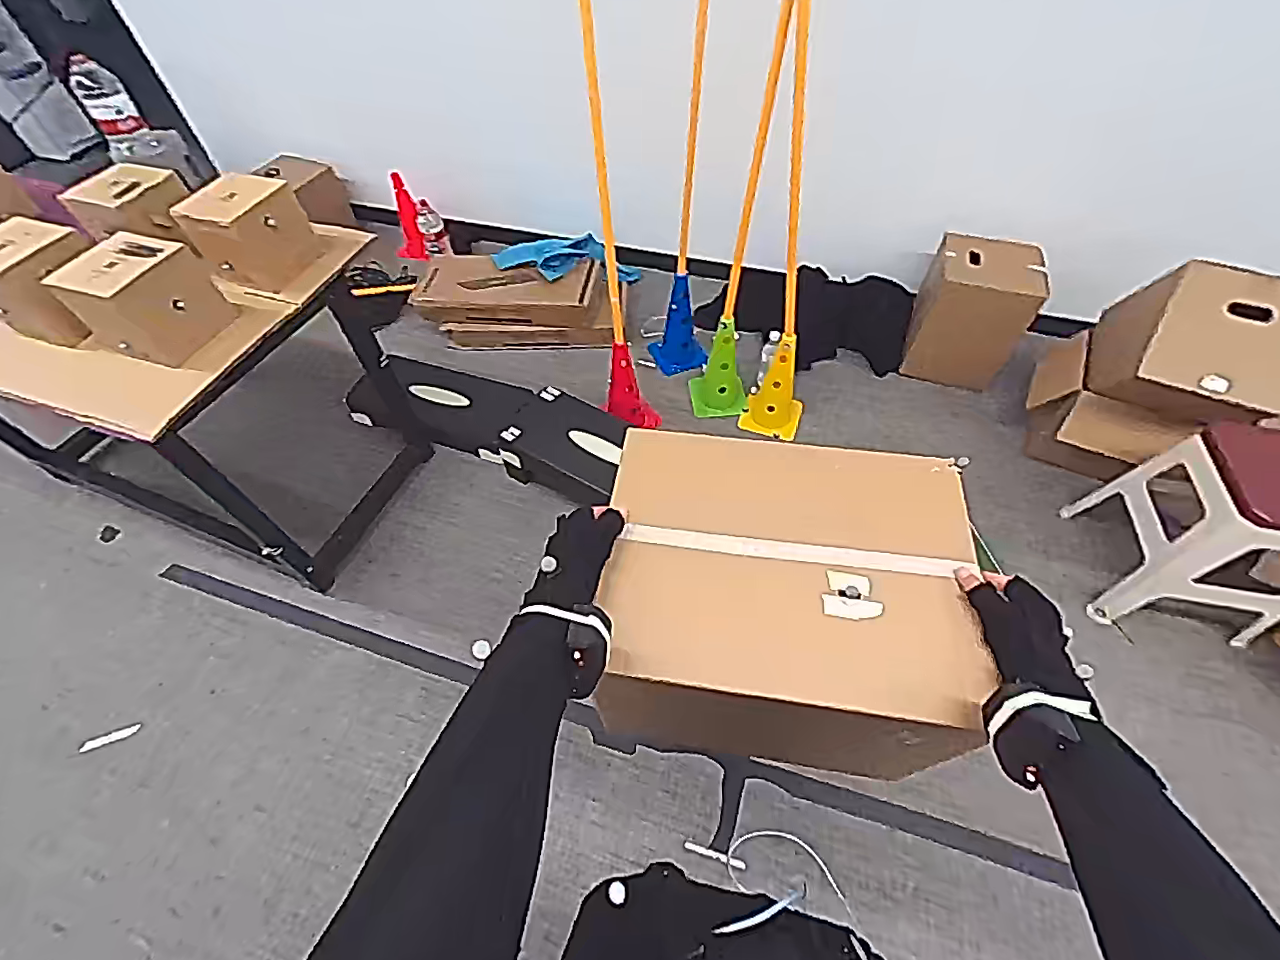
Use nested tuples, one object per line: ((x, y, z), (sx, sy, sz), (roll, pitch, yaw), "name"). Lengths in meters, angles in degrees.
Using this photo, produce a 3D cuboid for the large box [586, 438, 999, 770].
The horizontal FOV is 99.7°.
((0.166, 0.171, 0.729), (0.408, 0.320, 0.320), (6, 56, 8), "large box")
